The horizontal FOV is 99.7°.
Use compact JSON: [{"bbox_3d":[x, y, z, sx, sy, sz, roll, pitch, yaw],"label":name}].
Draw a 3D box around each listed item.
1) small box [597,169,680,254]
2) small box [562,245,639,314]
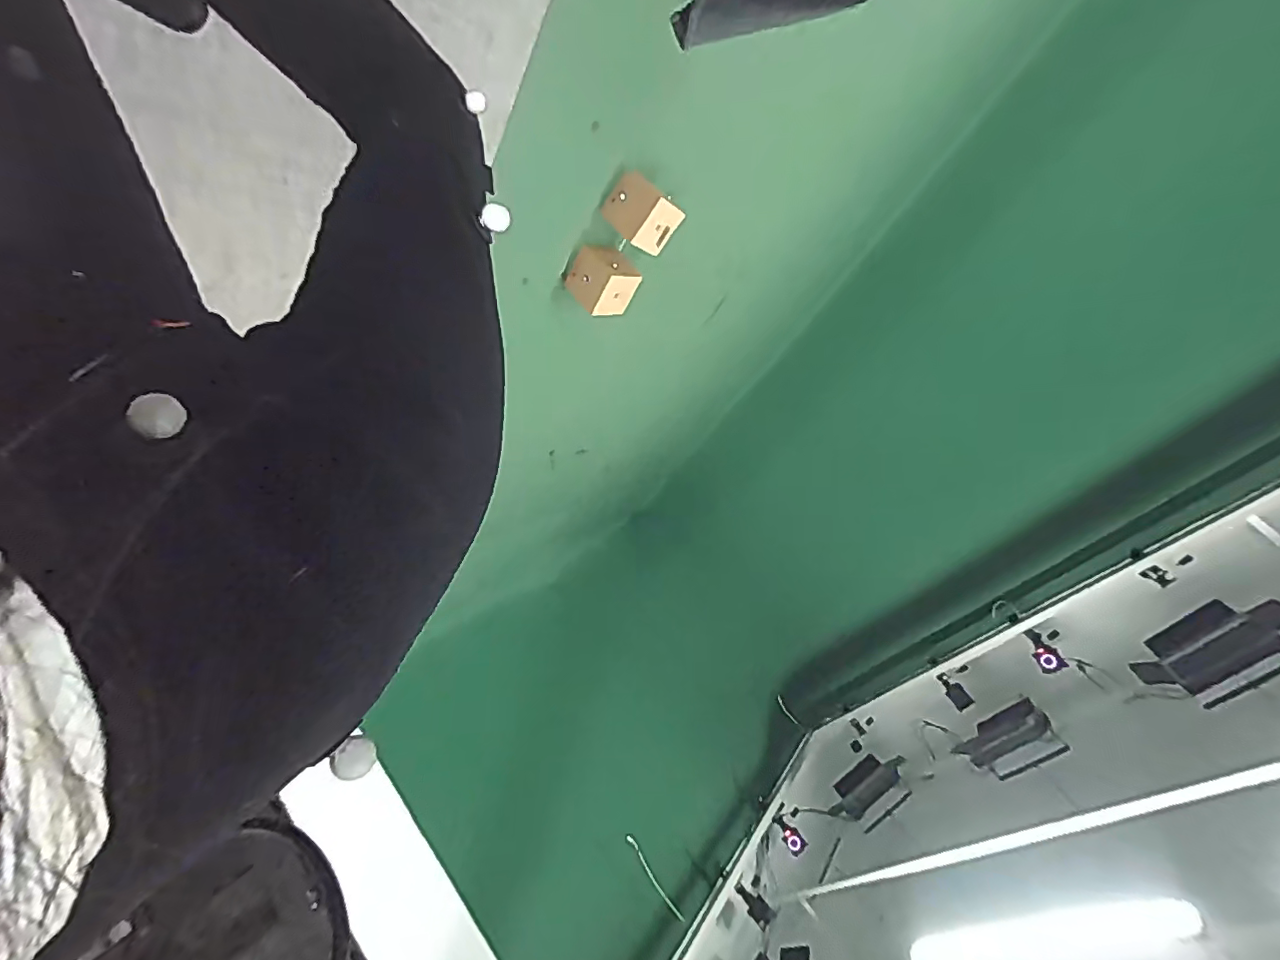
[{"bbox_3d":[-0.006,-0.880,1.774,0.168,0.176,0.179,-49,162,25],"label":"small box"},{"bbox_3d":[-0.144,-0.709,1.910,0.179,0.176,0.168,-24,158,-49],"label":"small box"}]
